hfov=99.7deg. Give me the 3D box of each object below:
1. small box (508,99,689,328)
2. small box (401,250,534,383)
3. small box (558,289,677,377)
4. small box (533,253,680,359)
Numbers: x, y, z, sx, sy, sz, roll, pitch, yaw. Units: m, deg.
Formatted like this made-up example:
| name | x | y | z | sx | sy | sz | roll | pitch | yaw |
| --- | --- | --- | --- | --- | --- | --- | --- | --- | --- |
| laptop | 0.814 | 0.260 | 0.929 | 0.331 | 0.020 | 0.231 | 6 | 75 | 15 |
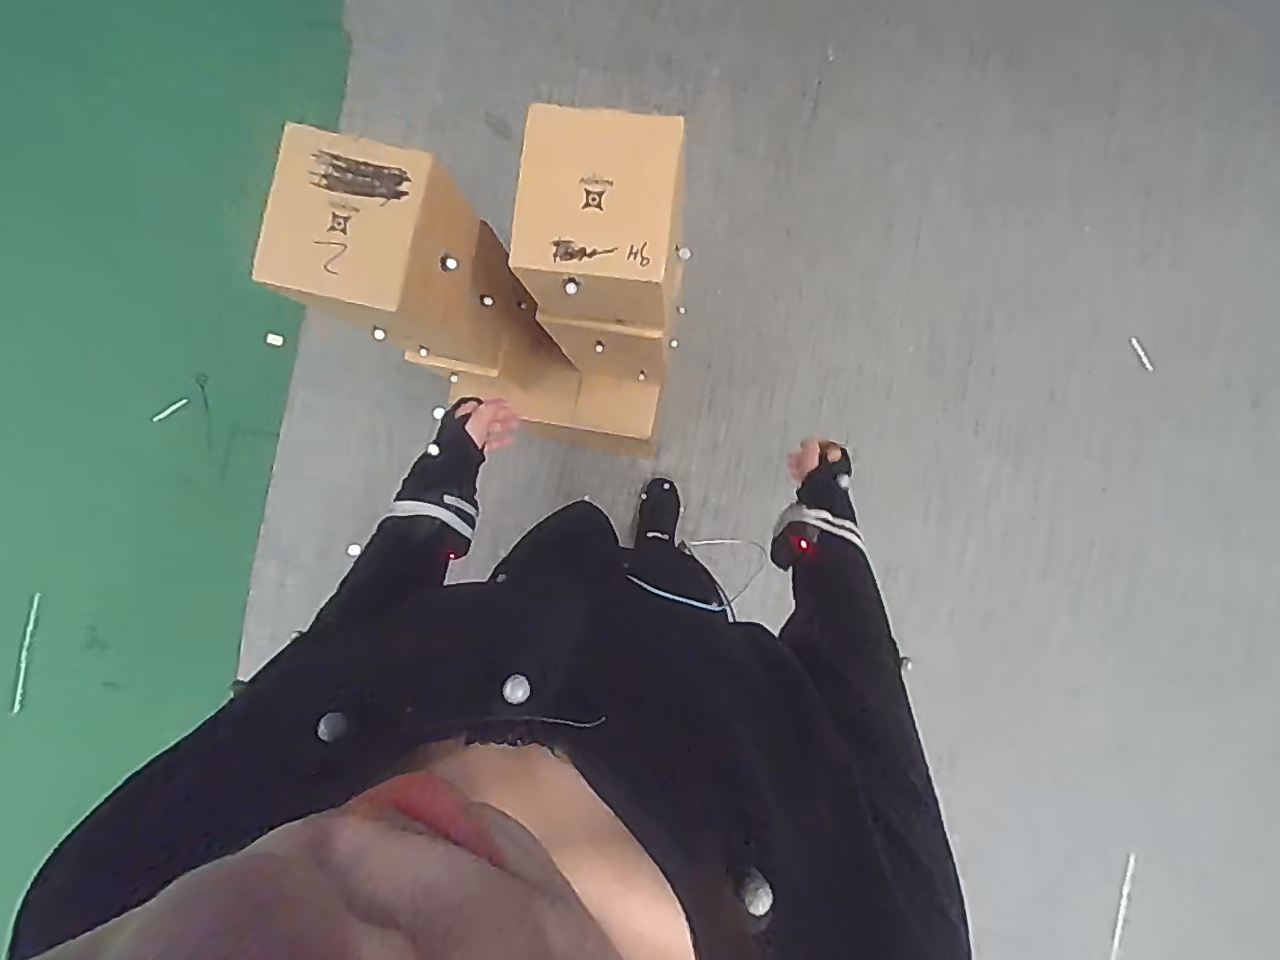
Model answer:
| name | x | y | z | sx | sy | sz | roll | pitch | yaw |
| --- | --- | --- | --- | --- | --- | --- | --- | --- | --- |
| small box | -0.039 | -0.298 | 0.637 | 0.168 | 0.176 | 0.179 | 9 | 90 | 4 |
| small box | -0.301 | -0.283 | 0.978 | 0.168 | 0.176 | 0.179 | 12 | 91 | 2 |
| small box | -0.031 | -0.288 | 0.965 | 0.179 | 0.176 | 0.168 | 10 | 90 | 5 |
| small box | -0.039 | -0.286 | 0.802 | 0.179 | 0.176 | 0.168 | 11 | 90 | 5 |
